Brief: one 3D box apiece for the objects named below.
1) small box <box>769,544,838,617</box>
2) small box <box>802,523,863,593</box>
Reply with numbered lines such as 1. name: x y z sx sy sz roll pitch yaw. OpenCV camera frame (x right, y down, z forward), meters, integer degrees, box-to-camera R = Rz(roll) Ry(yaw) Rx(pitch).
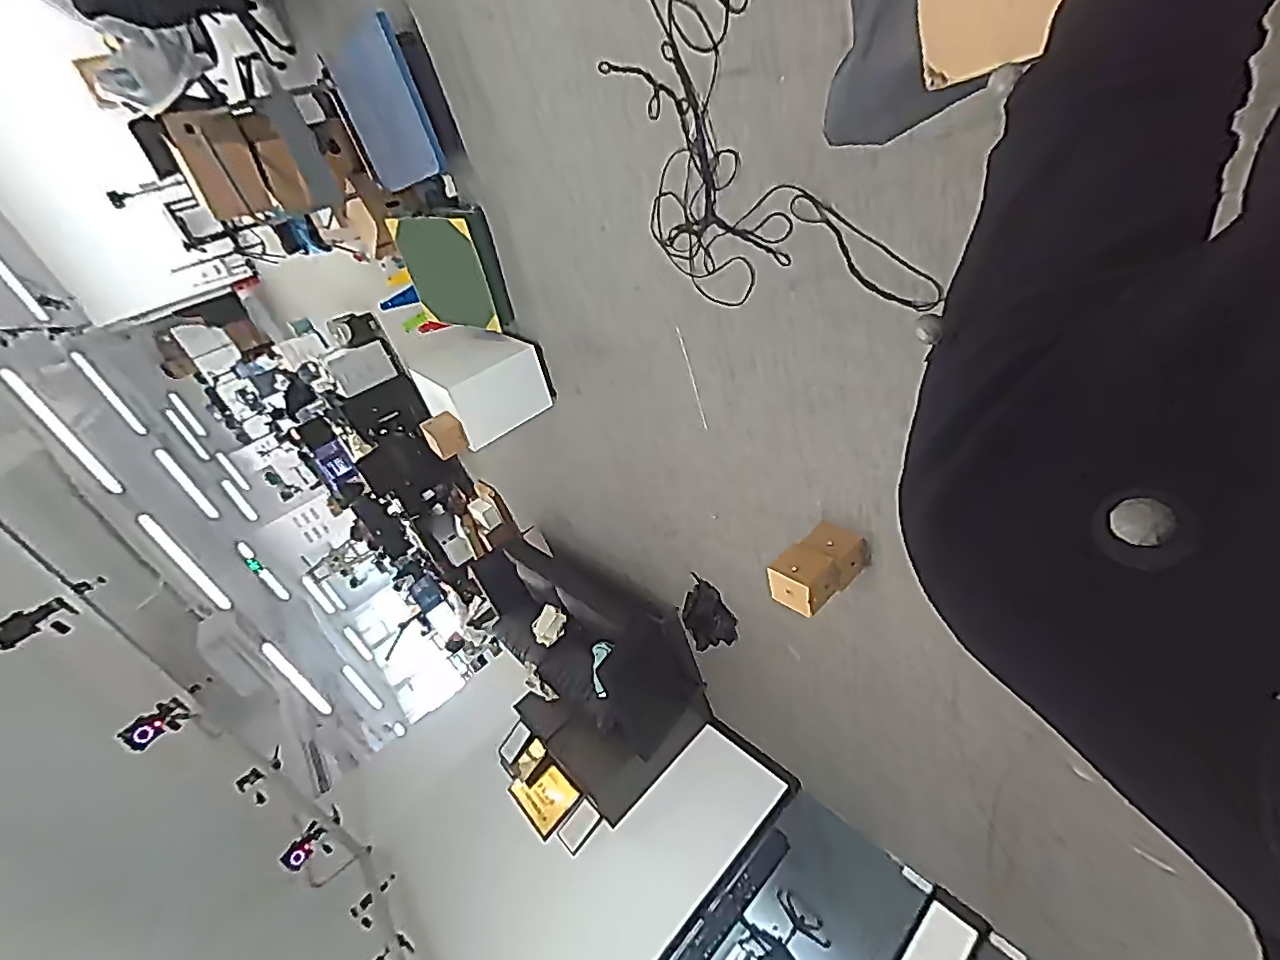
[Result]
1. small box: 0.601 0.360 1.981 0.179 0.176 0.168 23 139 45
2. small box: 0.731 0.288 2.050 0.179 0.176 0.168 22 139 45
